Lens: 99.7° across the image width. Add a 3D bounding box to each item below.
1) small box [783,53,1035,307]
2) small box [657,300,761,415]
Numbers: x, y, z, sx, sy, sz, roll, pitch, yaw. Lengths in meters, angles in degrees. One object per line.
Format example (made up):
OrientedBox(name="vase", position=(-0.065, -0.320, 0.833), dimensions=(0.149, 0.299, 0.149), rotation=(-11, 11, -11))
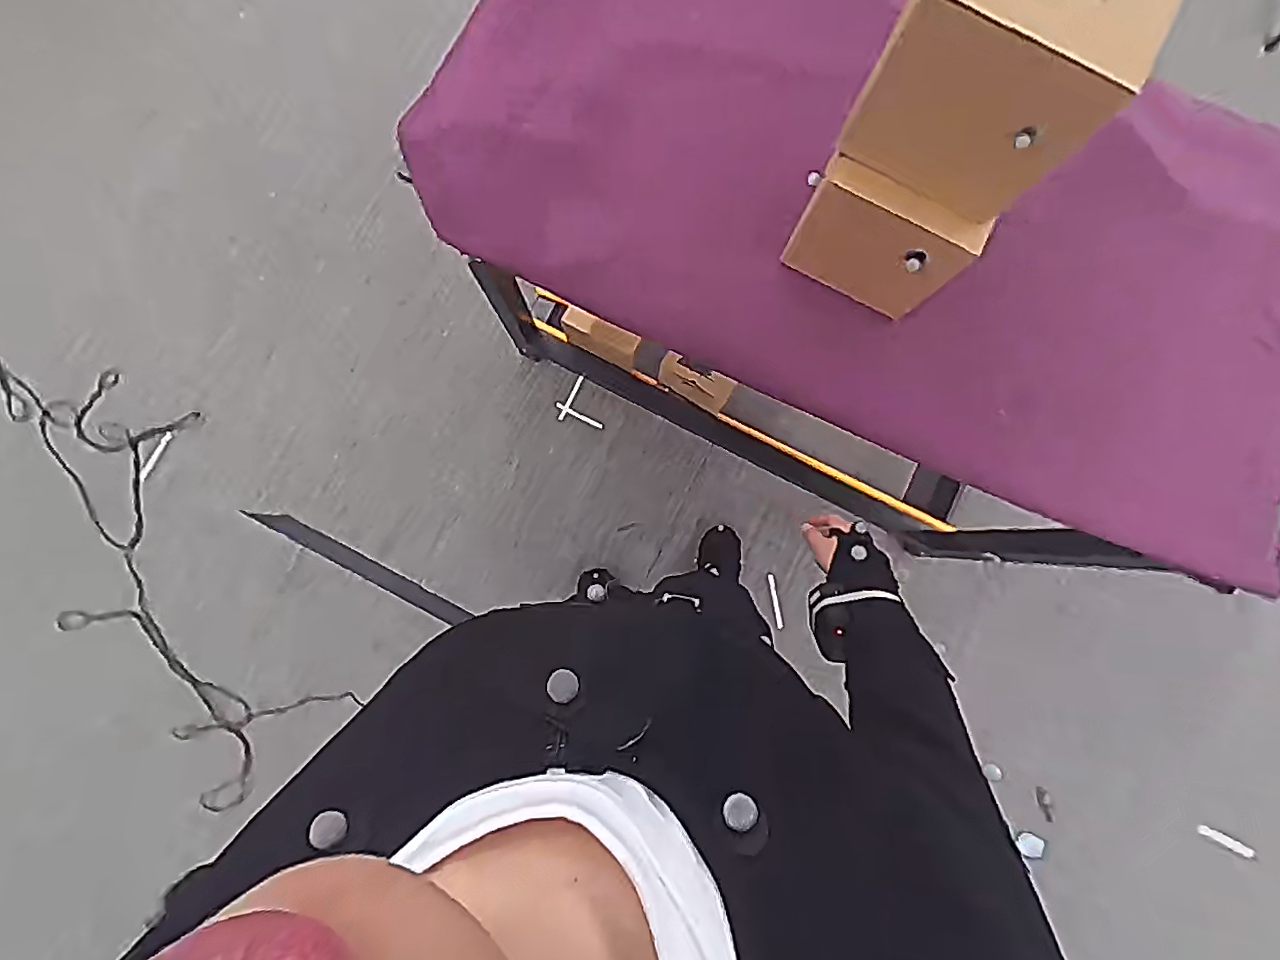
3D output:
OrientedBox(name="small box", position=(0.298, -0.331, 0.636), dimensions=(0.179, 0.176, 0.168), rotation=(27, 83, 1))
OrientedBox(name="small box", position=(0.150, -0.271, 1.249), dimensions=(0.168, 0.176, 0.179), rotation=(32, 84, 1))
